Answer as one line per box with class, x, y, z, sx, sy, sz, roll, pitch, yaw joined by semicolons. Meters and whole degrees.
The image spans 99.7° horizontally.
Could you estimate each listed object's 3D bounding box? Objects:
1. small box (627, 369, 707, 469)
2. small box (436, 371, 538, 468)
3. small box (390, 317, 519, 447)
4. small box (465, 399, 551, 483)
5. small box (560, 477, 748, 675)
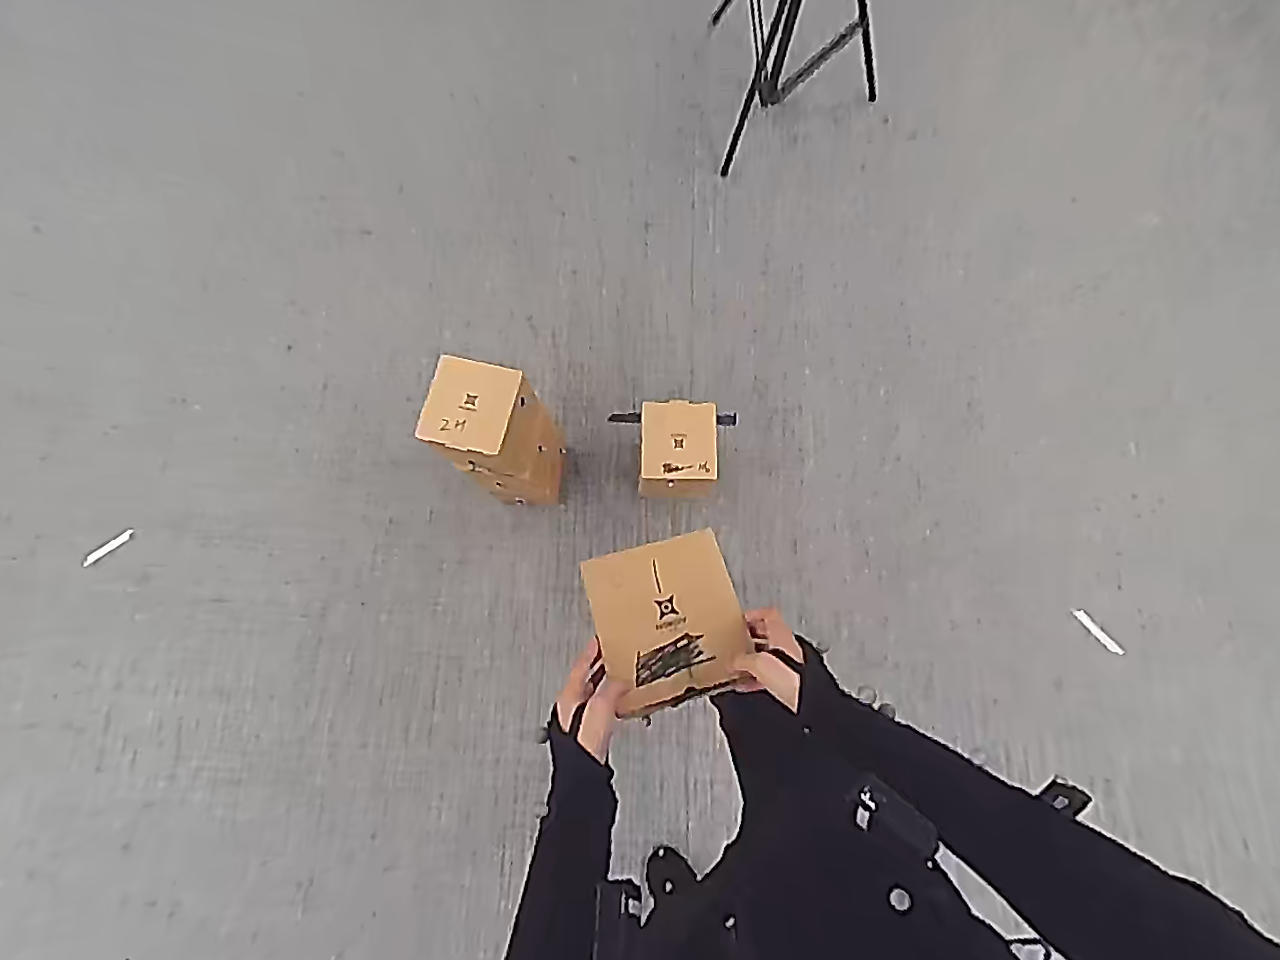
small box;0.056;-0.131;1.209;0.168;0.176;0.179;1;77;-1
small box;-0.330;-0.138;1.203;0.168;0.176;0.179;7;79;1
small box;-0.344;-0.182;1.044;0.168;0.176;0.179;13;79;2
small box;-0.323;-0.100;1.359;0.168;0.176;0.179;5;78;2
small box;0.012;0.124;0.645;0.168;0.176;0.179;-14;65;-7
